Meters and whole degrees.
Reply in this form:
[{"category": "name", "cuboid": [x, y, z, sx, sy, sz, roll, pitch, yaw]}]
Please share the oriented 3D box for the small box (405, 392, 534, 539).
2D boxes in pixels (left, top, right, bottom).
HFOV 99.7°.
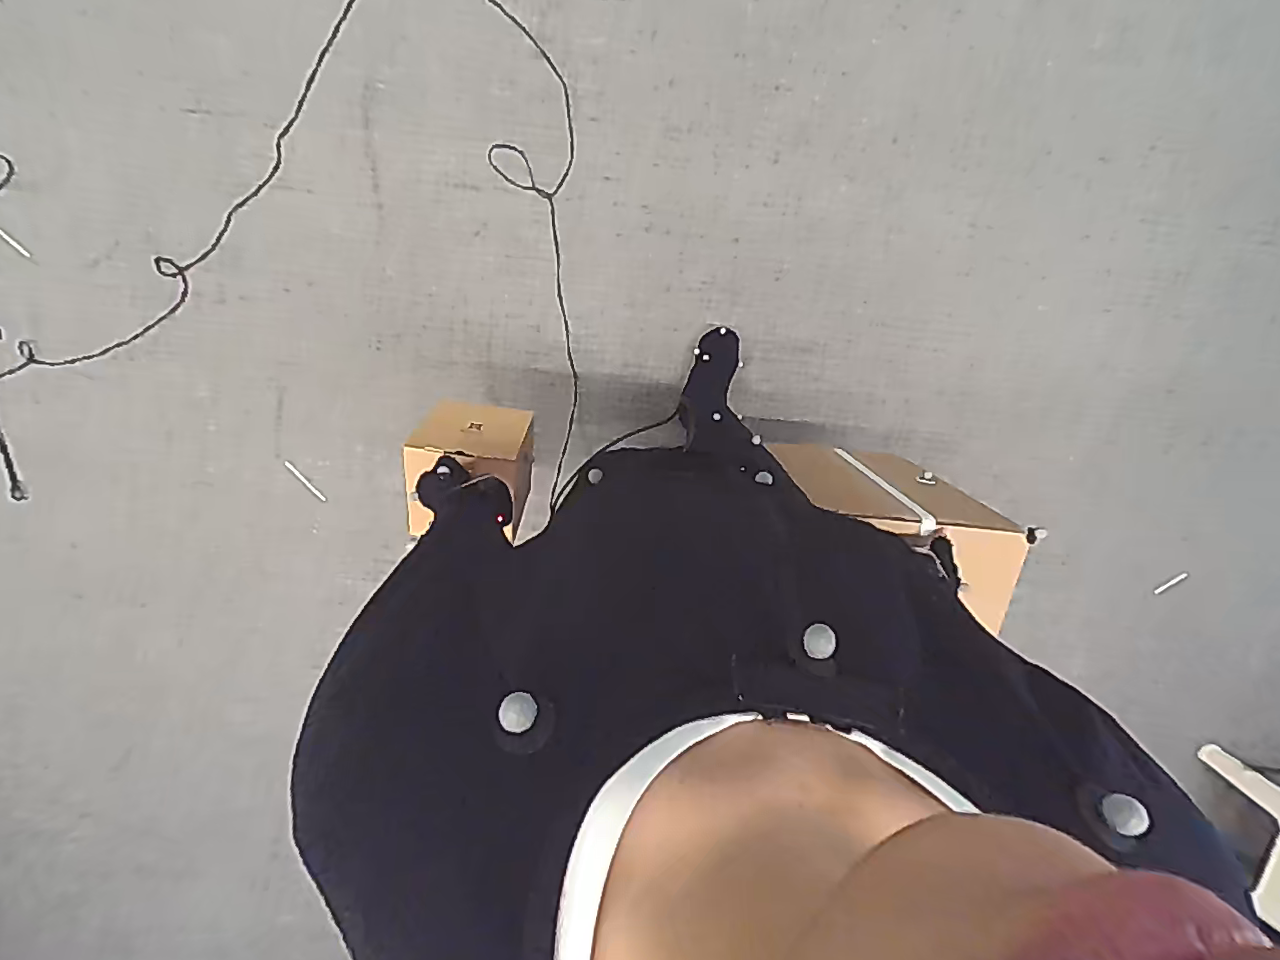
[{"category": "small box", "cuboid": [-0.278, -0.027, 0.908, 0.168, 0.179, 0.176, 8, 123, -5]}]
